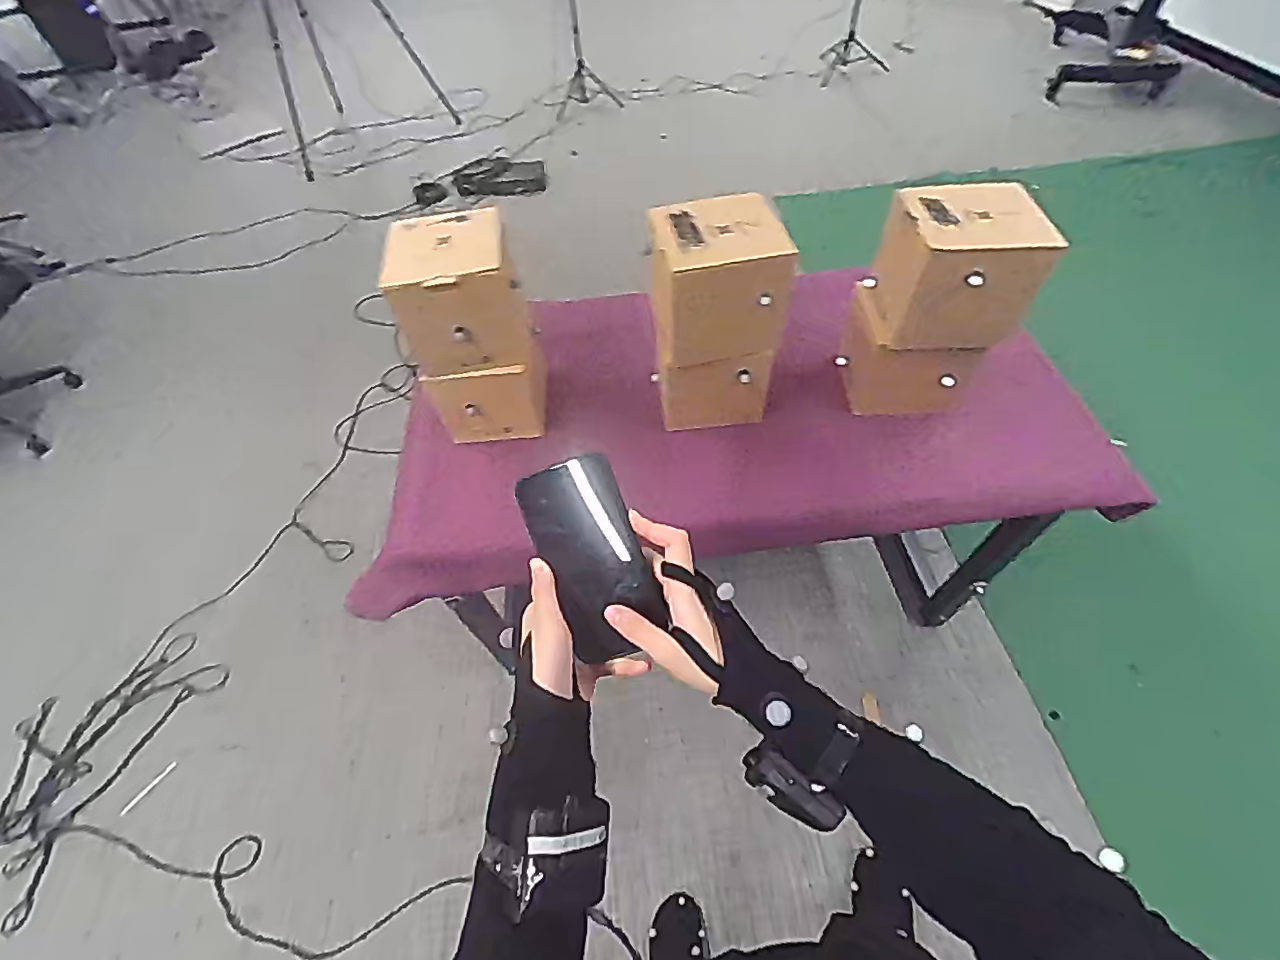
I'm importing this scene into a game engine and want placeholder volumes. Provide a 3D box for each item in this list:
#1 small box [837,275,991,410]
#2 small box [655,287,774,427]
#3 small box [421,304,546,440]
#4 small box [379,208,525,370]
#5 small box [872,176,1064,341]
[{"bbox_3d":[0.462,-0.237,0.941,0.179,0.176,0.168,-1,54,5],"label":"small box"},{"bbox_3d":[0.123,-0.212,0.952,0.179,0.176,0.168,-6,54,1],"label":"small box"},{"bbox_3d":[-0.267,-0.185,0.970,0.168,0.176,0.179,-6,54,1],"label":"small box"},{"bbox_3d":[-0.280,-0.288,0.841,0.168,0.176,0.179,-10,55,-3],"label":"small box"},{"bbox_3d":[0.460,-0.321,0.800,0.179,0.176,0.168,-1,54,4],"label":"small box"}]
